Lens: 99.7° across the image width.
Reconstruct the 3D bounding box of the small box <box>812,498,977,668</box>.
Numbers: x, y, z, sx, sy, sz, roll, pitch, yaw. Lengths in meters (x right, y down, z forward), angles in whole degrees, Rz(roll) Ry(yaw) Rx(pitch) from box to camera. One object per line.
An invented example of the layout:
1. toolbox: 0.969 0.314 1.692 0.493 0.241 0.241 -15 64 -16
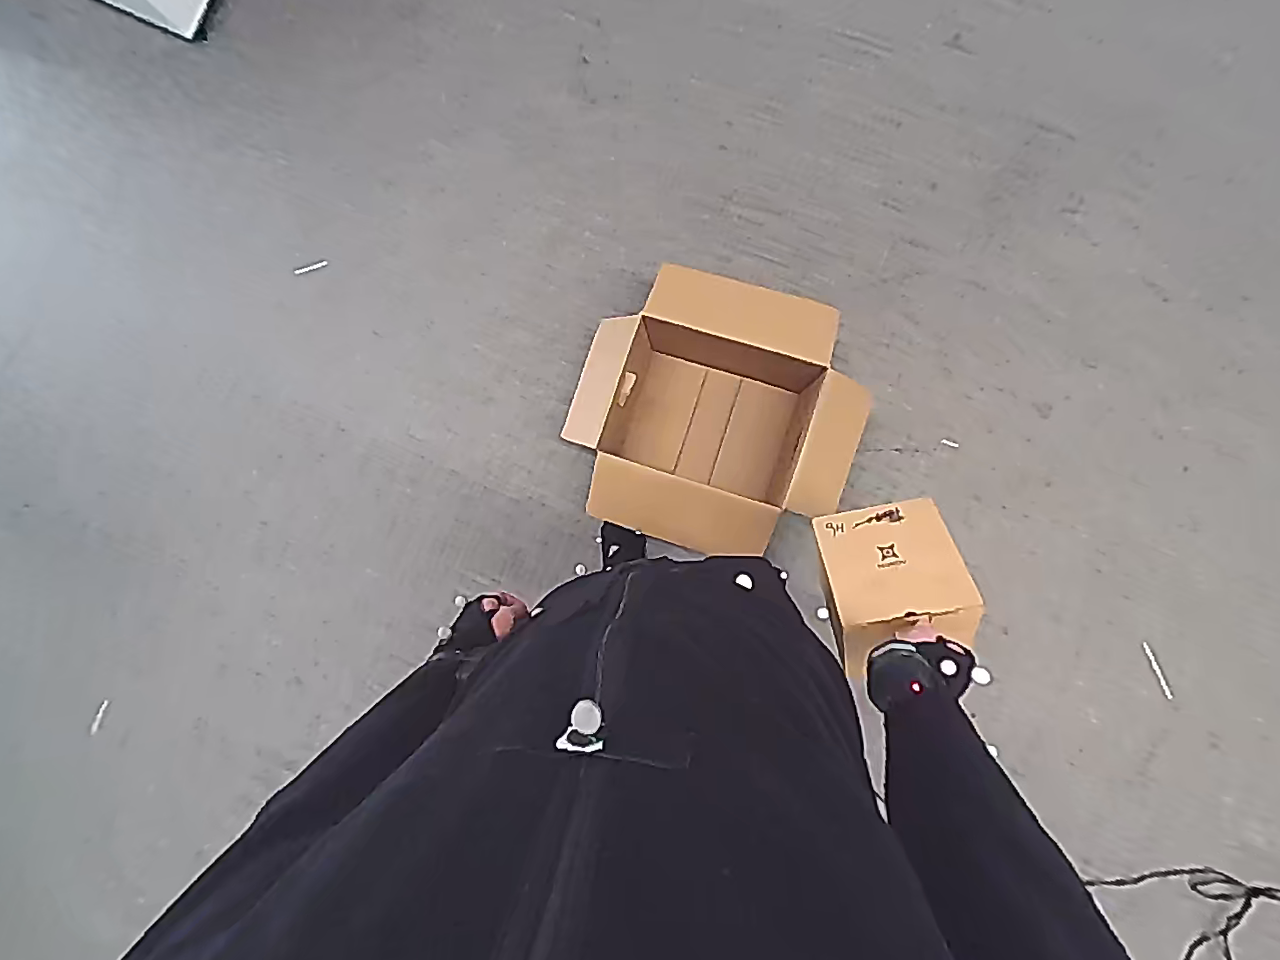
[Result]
1. small box: 0.351 0.156 0.773 0.168 0.176 0.179 -11 47 12
